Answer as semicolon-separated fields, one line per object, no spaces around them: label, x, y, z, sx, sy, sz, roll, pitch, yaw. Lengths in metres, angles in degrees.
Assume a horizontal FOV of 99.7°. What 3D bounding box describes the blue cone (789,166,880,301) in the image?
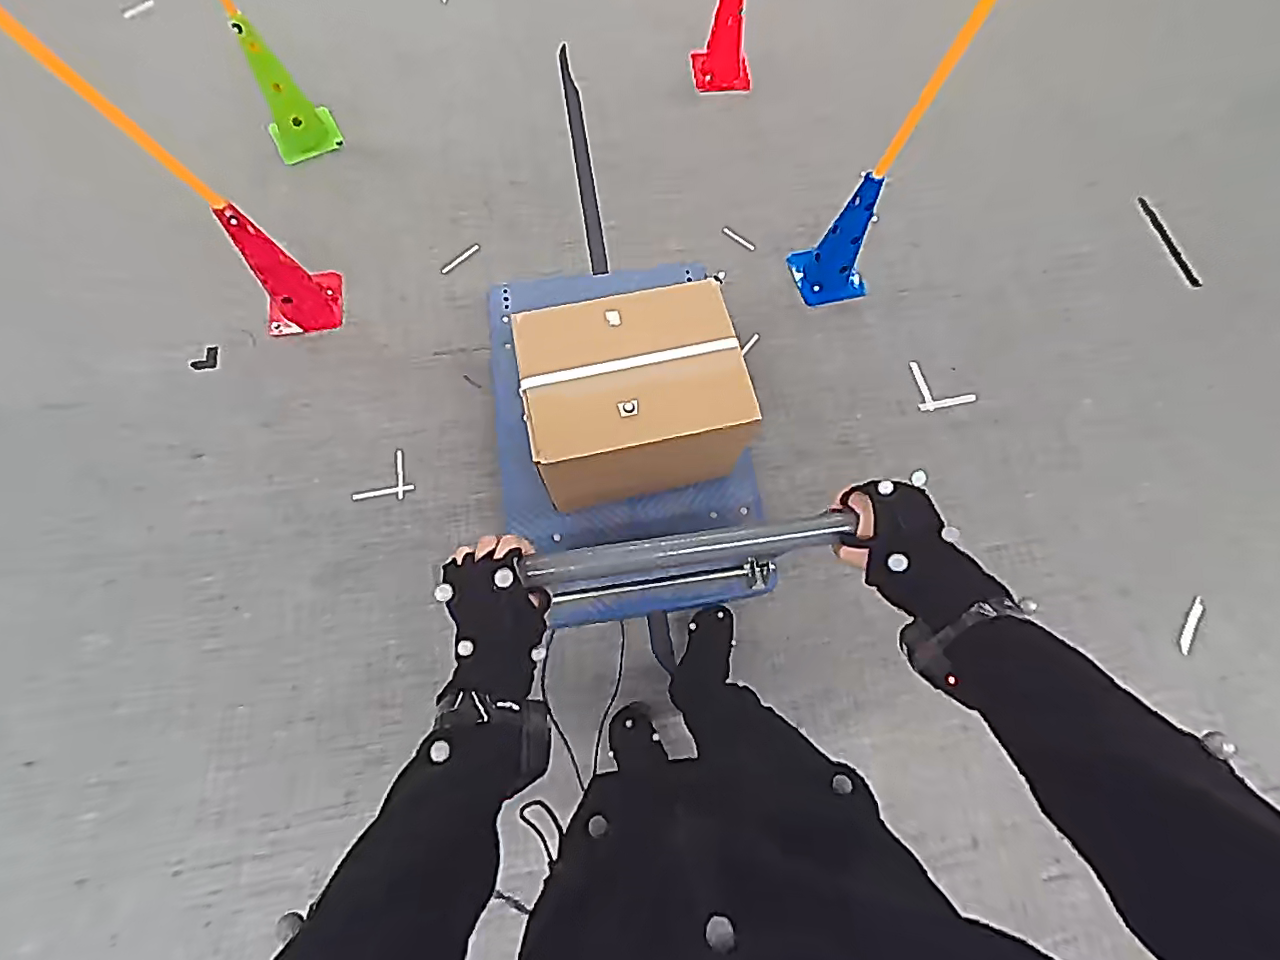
blue cone;0.577;-0.693;1.512;0.193;0.380;0.192;-12;71;-6

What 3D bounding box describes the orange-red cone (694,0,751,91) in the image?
orange-red cone;0.302;-1.520;1.775;0.199;0.360;0.198;-2;72;-4
